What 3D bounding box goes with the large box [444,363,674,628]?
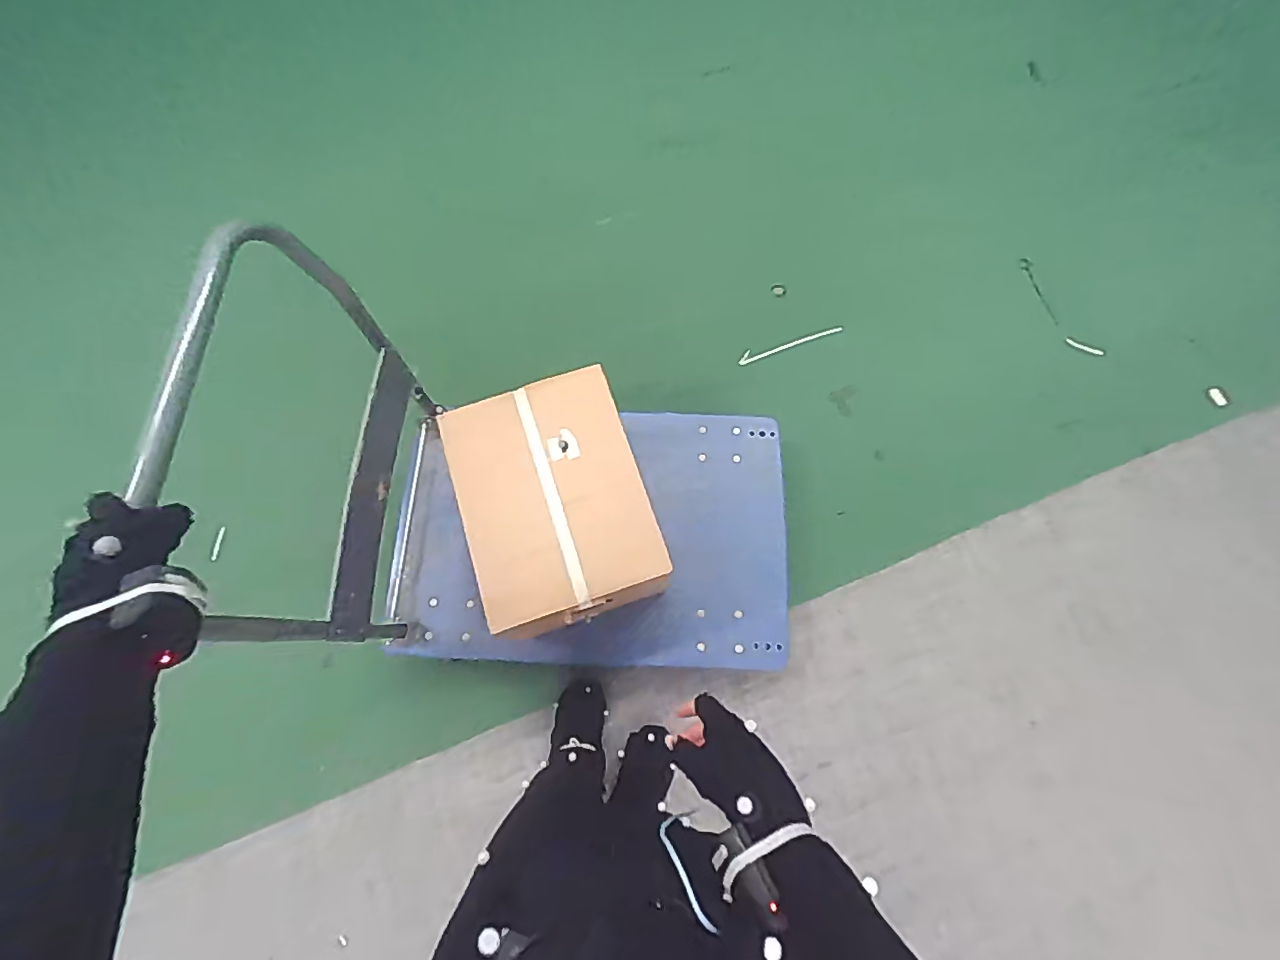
[{"bbox_3d":[-0.144,0.050,1.077,0.320,0.320,0.408,-18,73,-5],"label":"large box"}]
